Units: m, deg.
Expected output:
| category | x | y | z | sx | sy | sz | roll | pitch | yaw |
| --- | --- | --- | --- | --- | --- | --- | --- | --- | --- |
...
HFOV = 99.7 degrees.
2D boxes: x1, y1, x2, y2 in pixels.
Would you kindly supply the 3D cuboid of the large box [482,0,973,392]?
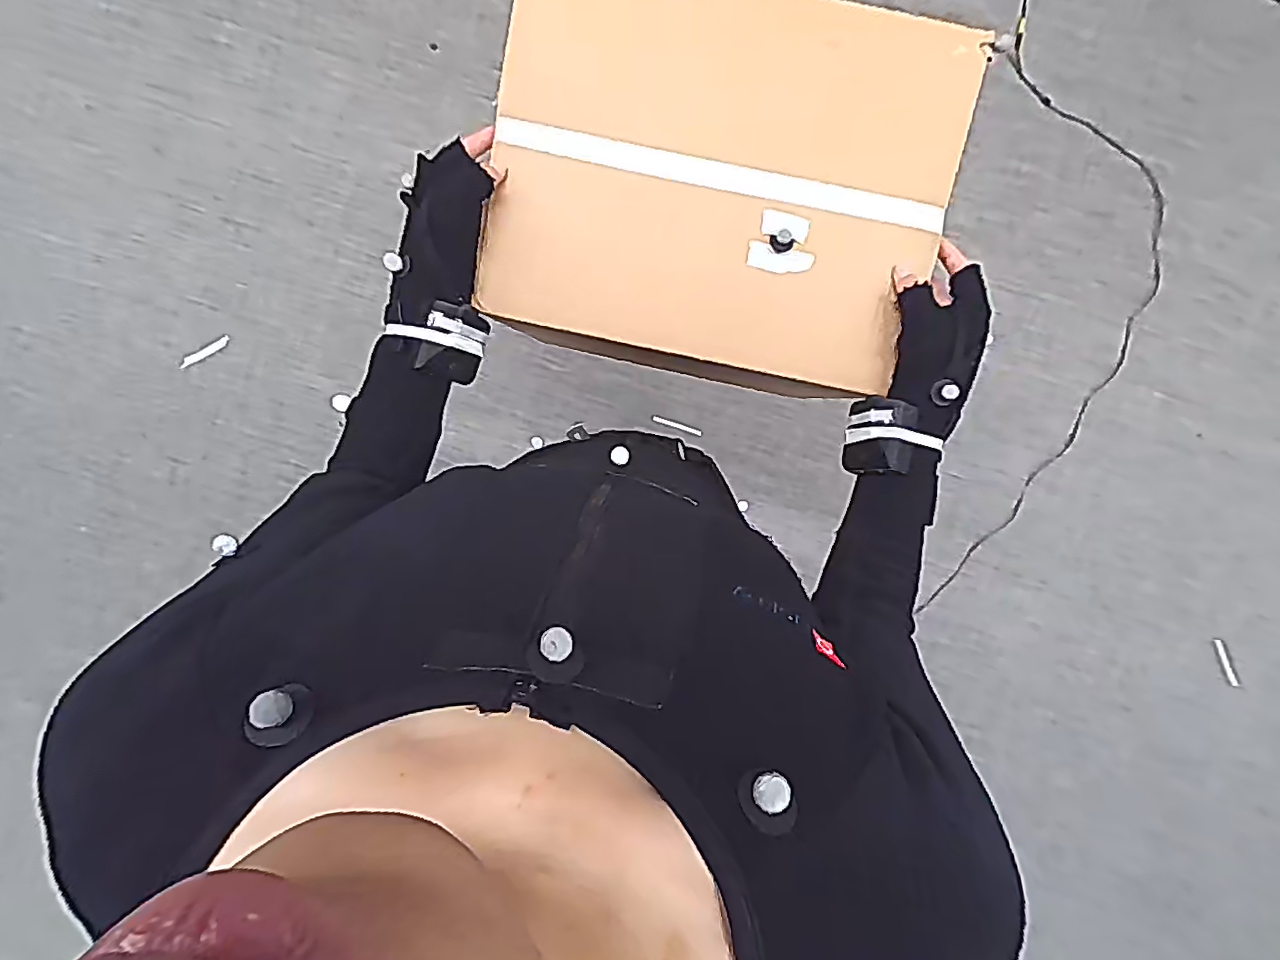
| category | x | y | z | sx | sy | sz | roll | pitch | yaw |
| --- | --- | --- | --- | --- | --- | --- | --- | --- | --- |
| large box | 0.072 | -0.295 | 0.639 | 0.408 | 0.320 | 0.320 | 12 | 99 | 0 |
